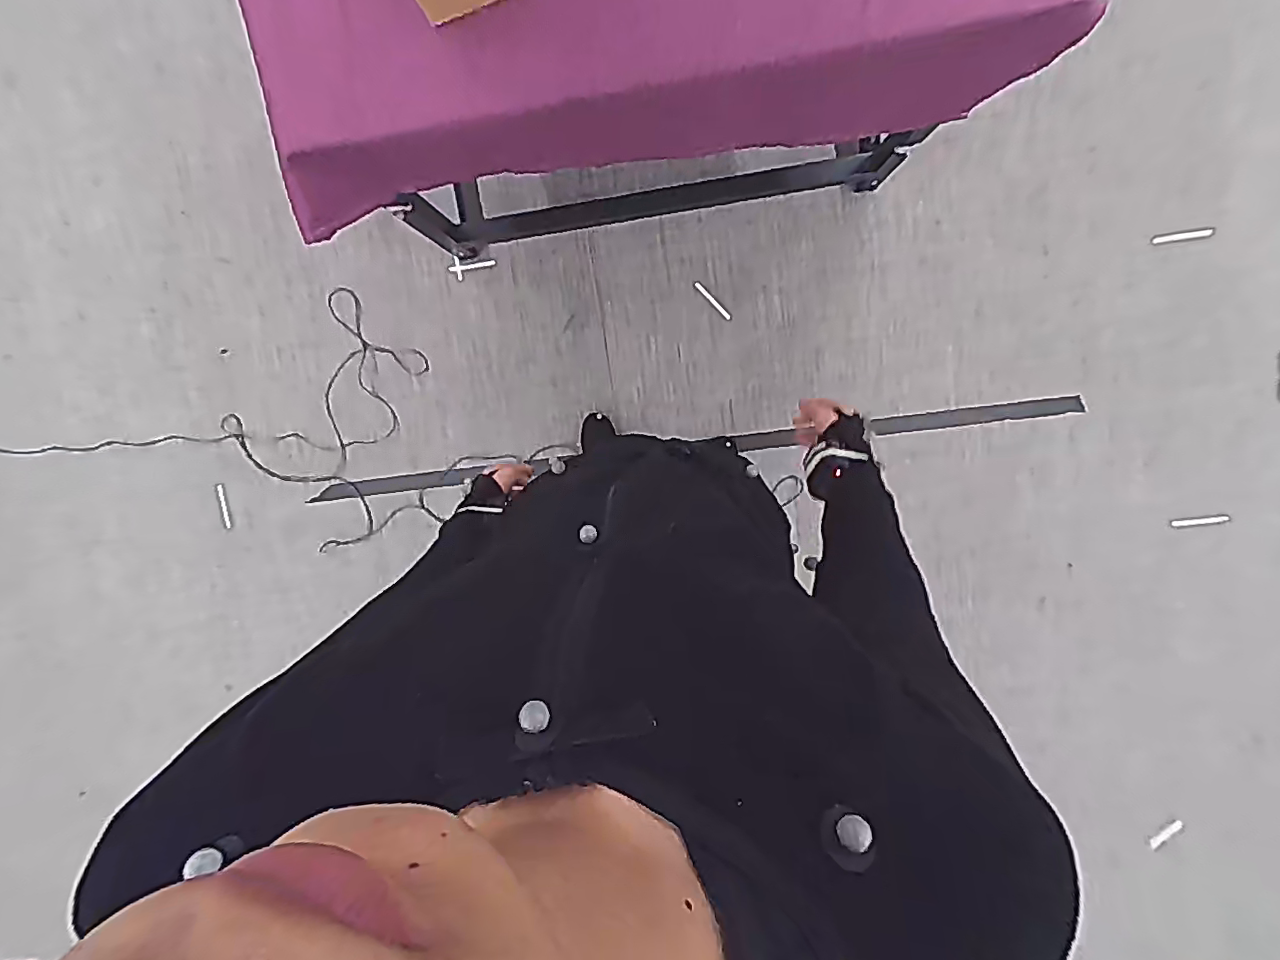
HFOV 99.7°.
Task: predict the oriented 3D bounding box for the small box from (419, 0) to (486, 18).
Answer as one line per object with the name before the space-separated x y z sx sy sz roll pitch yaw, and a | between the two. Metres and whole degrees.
small box | -0.255 -0.764 0.703 0.179 0.176 0.168 -18 97 4
